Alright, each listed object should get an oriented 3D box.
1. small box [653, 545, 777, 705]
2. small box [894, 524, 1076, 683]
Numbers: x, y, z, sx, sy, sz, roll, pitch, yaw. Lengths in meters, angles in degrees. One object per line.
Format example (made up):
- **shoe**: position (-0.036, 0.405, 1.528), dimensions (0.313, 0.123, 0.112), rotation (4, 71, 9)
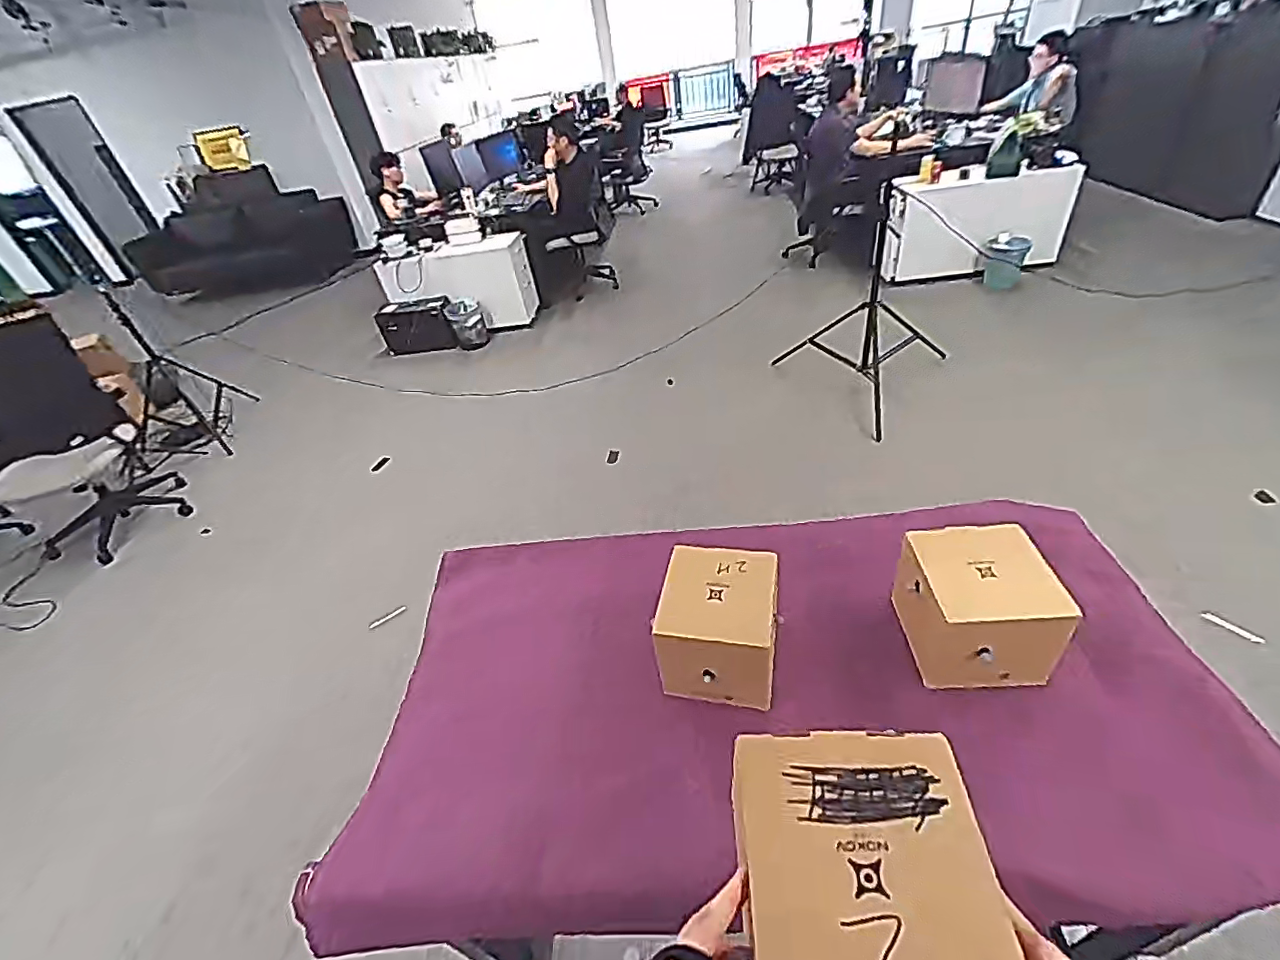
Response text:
- **small box**: position (0.128, 0.228, 0.857), dimensions (0.168, 0.176, 0.179), rotation (3, 40, 16)
- **small box**: position (0.501, 0.191, 0.818), dimensions (0.168, 0.176, 0.179), rotation (-5, 37, 8)
